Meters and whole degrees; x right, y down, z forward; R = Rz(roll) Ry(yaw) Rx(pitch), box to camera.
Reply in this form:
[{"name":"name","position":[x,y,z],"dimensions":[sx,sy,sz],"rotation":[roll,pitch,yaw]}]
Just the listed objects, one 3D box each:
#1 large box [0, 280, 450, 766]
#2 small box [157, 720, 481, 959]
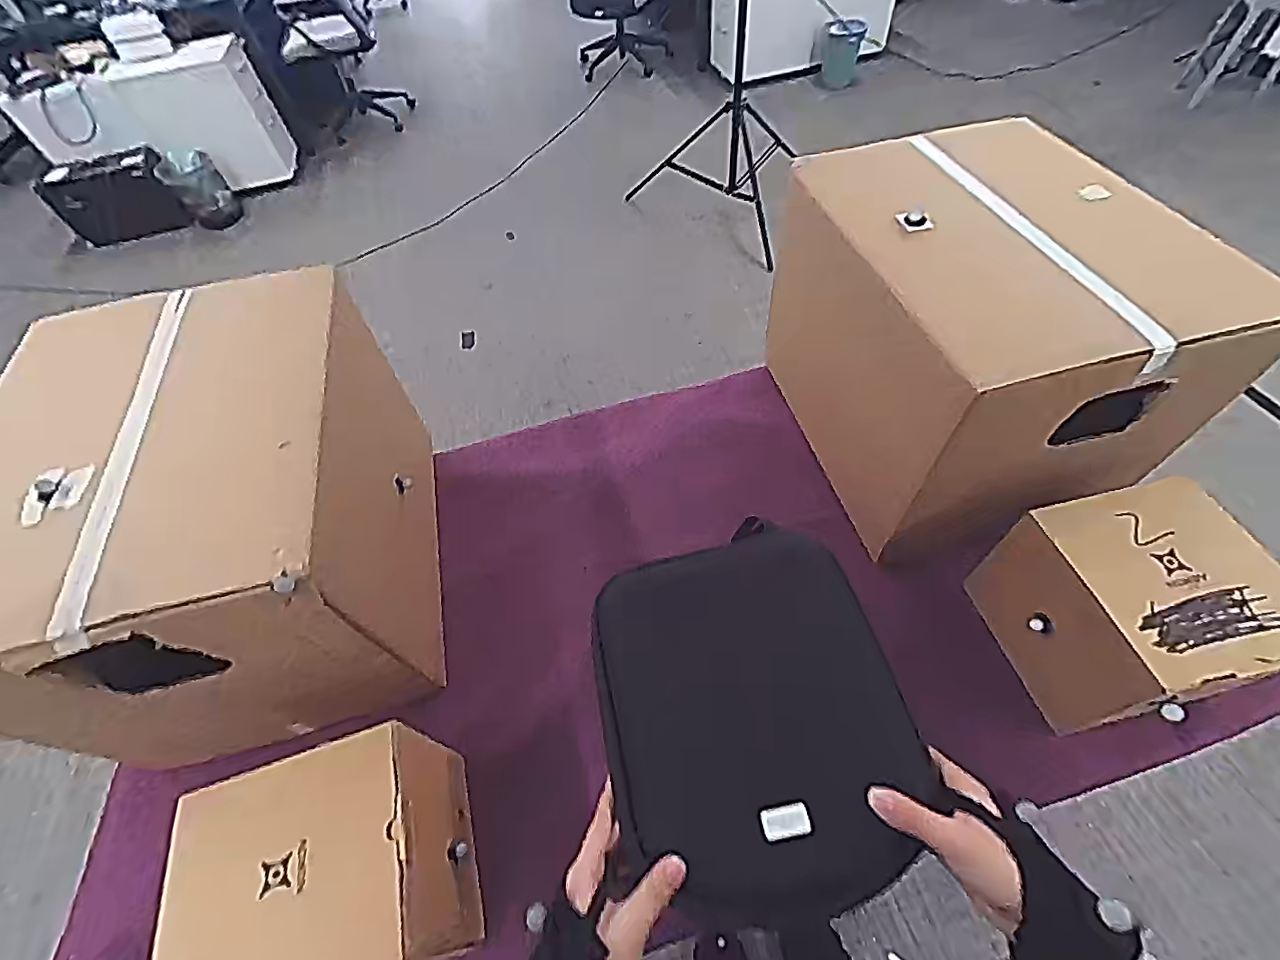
[{"name":"large box","position":[-0.428,0.047,0.610],"dimensions":[0.320,0.320,0.408],"rotation":[-15,56,-7]},{"name":"small box","position":[-0.258,0.340,0.468],"dimensions":[0.179,0.176,0.168],"rotation":[-18,53,-8]}]
